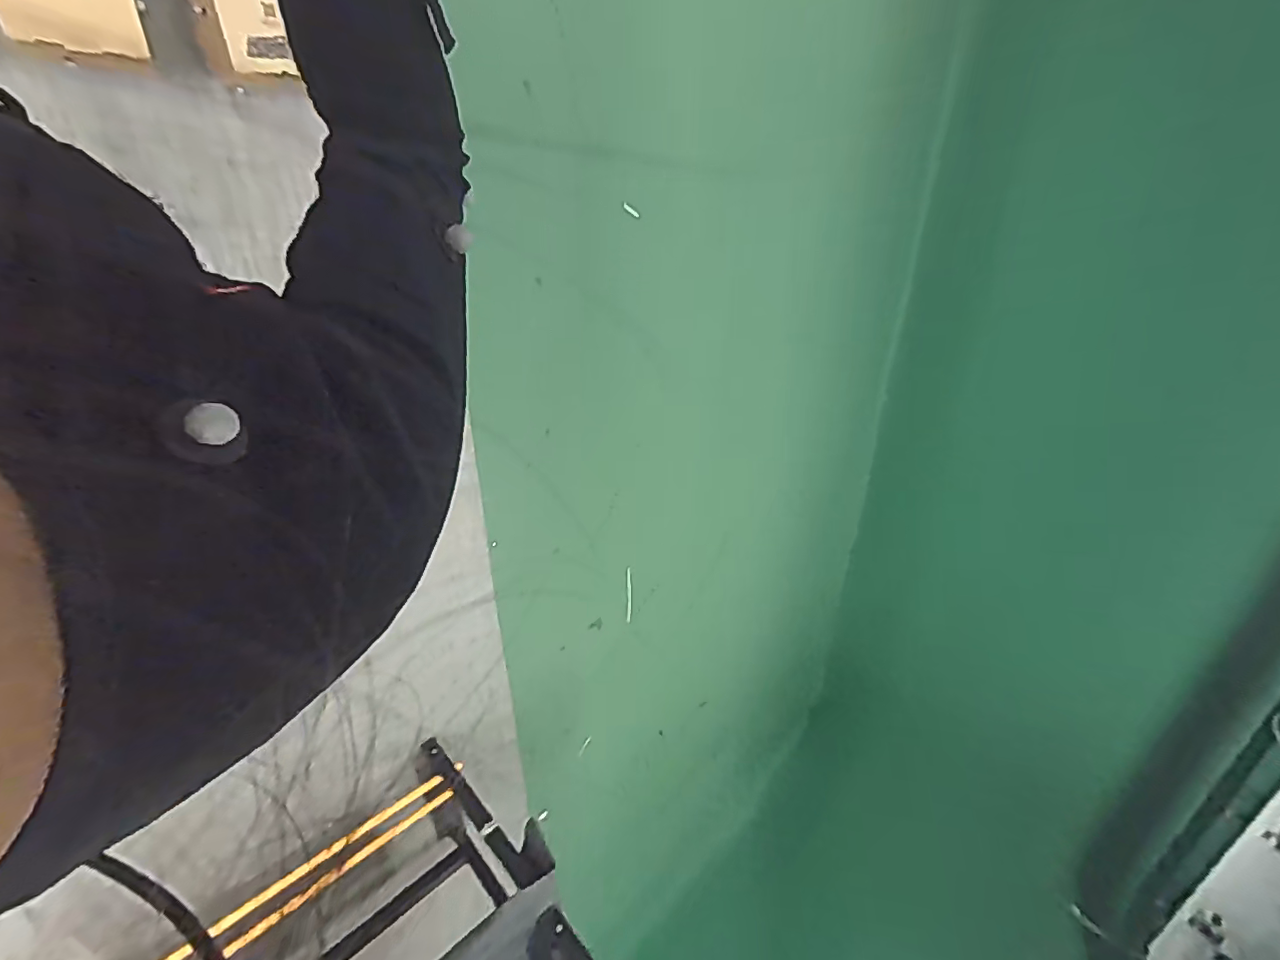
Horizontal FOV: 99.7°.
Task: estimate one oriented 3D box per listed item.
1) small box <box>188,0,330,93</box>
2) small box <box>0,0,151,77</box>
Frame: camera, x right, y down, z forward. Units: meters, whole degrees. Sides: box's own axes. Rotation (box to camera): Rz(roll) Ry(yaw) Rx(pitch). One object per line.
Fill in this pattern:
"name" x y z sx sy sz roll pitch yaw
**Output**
"small box" -0.710 -0.838 1.002 0.168 0.176 0.179 -26 126 -38
"small box" -0.902 -0.753 0.834 0.168 0.176 0.179 -23 125 -40
